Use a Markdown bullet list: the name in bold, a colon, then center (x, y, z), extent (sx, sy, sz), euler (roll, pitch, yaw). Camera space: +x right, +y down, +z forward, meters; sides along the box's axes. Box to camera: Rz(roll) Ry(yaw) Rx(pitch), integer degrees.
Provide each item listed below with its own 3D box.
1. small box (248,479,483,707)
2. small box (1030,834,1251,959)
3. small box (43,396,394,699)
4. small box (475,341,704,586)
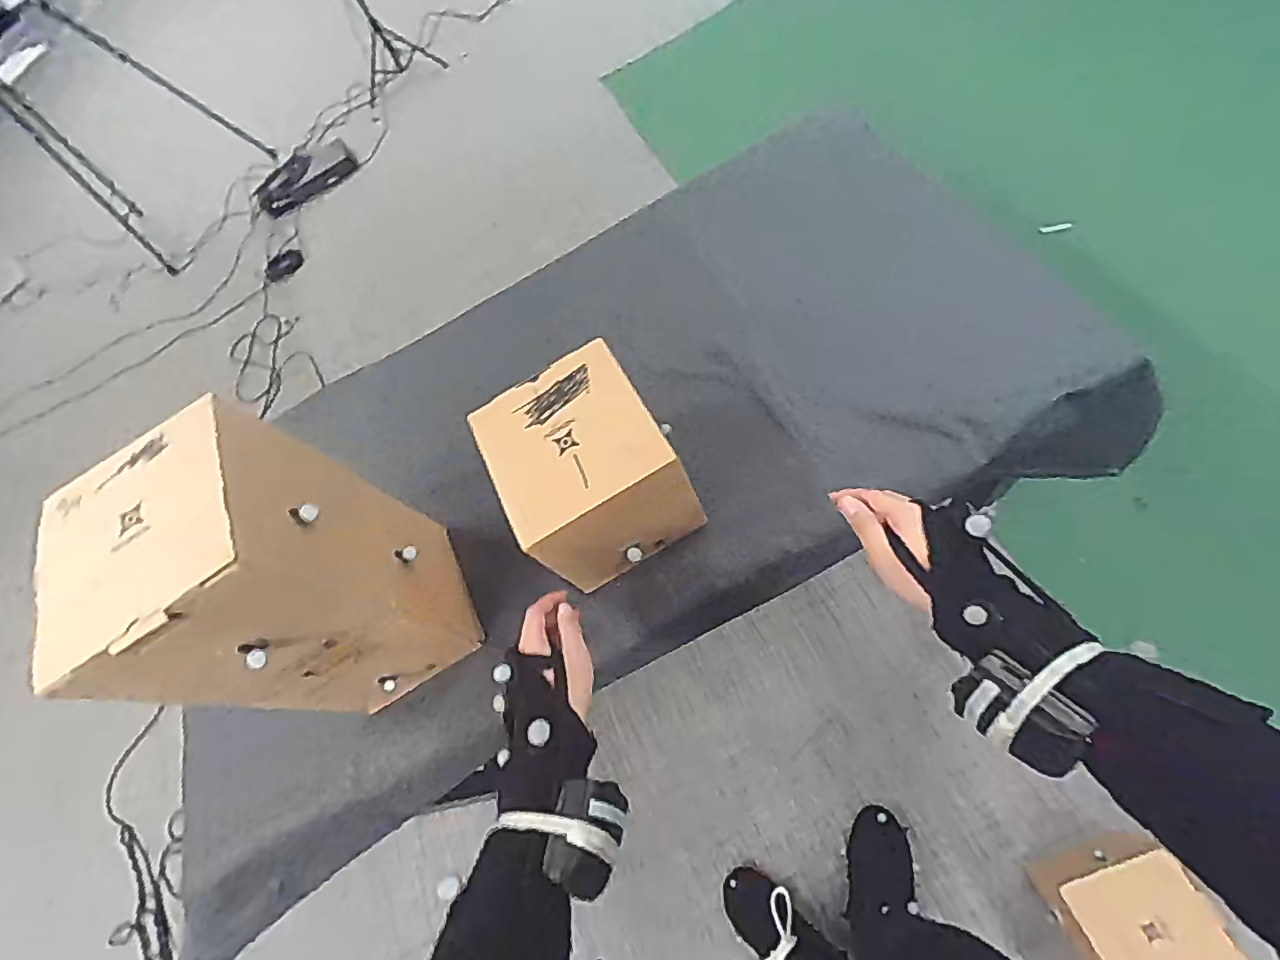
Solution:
- **small box**: center (-0.310, 0.136, 0.614), extent (0.168, 0.176, 0.179), euler (-32, 61, 0)
- **small box**: center (0.773, 0.688, 0.854), extent (0.179, 0.176, 0.168), euler (-27, 60, 6)
- **small box**: center (-0.348, 0.068, 0.470), extent (0.168, 0.176, 0.179), euler (-33, 62, 0)
- **small box**: center (-0.049, -0.010, 0.598), extent (0.168, 0.176, 0.179), euler (-31, 60, 2)
